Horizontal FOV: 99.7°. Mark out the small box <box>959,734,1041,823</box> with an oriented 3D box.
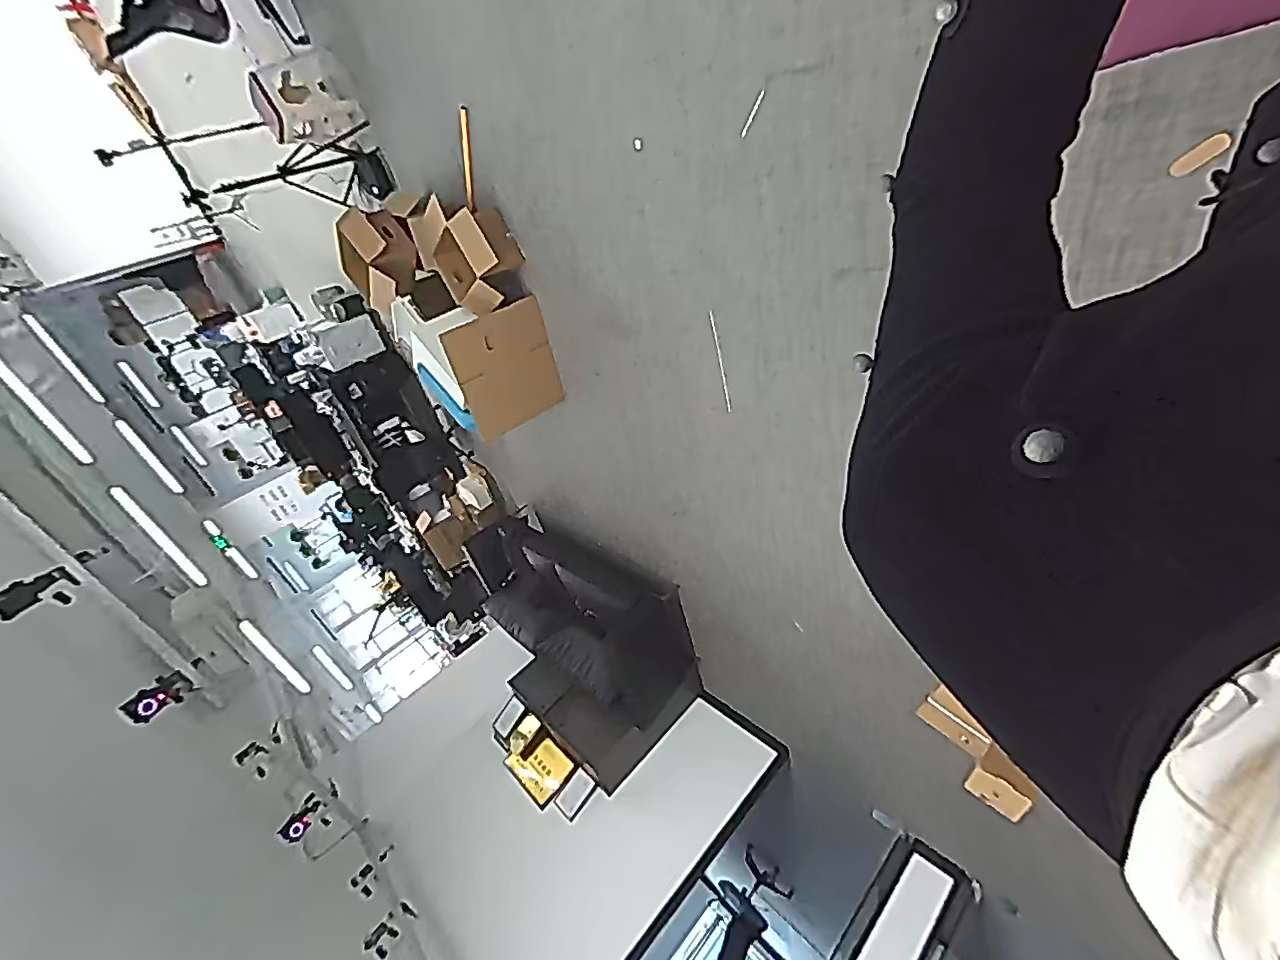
[{"bbox_3d":[1.223,1.005,1.834,0.168,0.176,0.179,30,142,36],"label":"small box"}]
